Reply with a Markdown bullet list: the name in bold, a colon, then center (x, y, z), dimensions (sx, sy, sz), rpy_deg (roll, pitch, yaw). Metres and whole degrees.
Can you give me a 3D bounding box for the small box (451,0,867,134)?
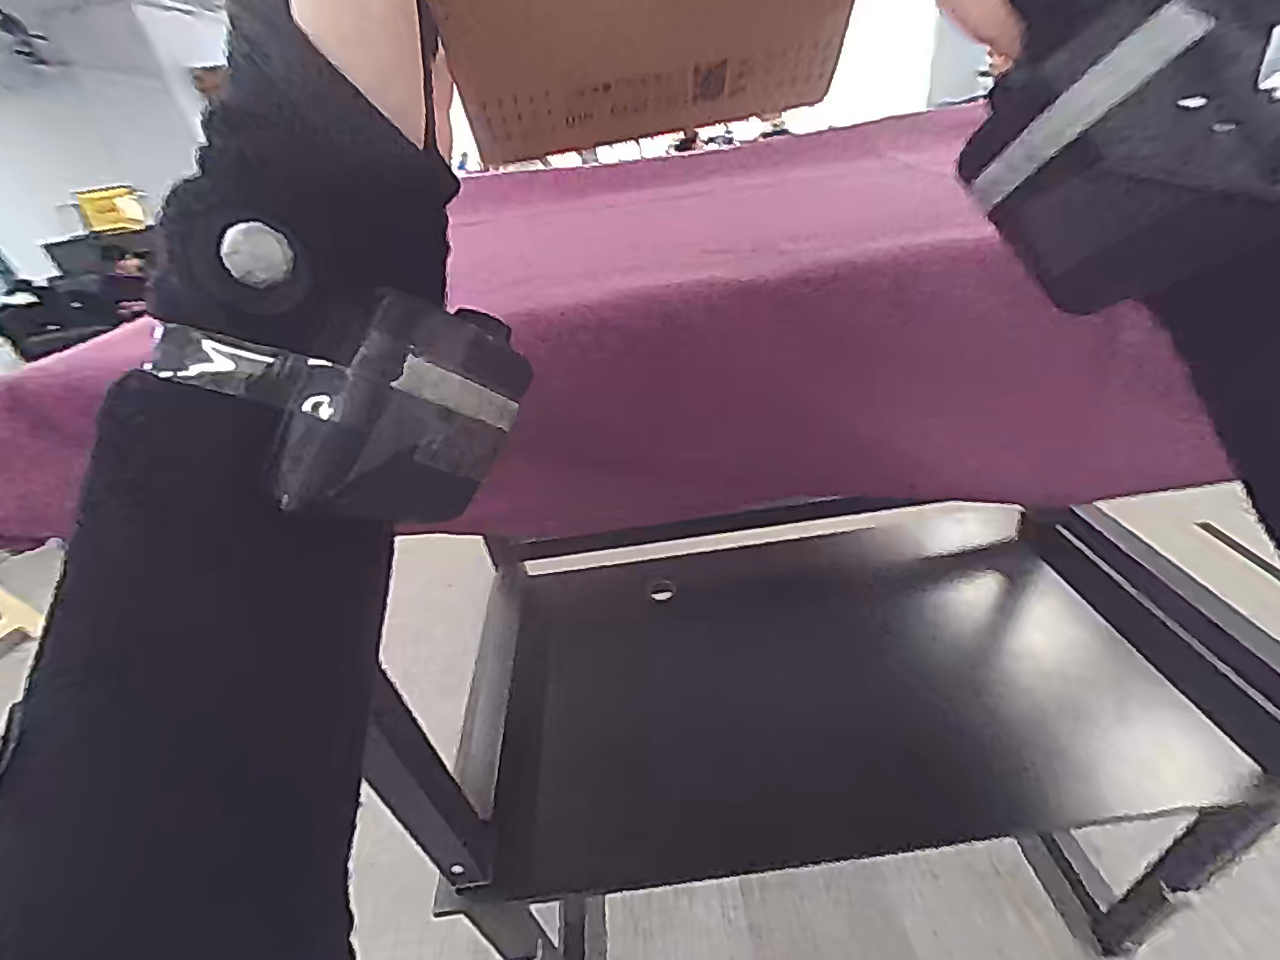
- **small box**: center (-0.006, -0.270, 0.200), dimensions (0.168, 0.176, 0.179), rpy_deg (-13, 66, -3)
